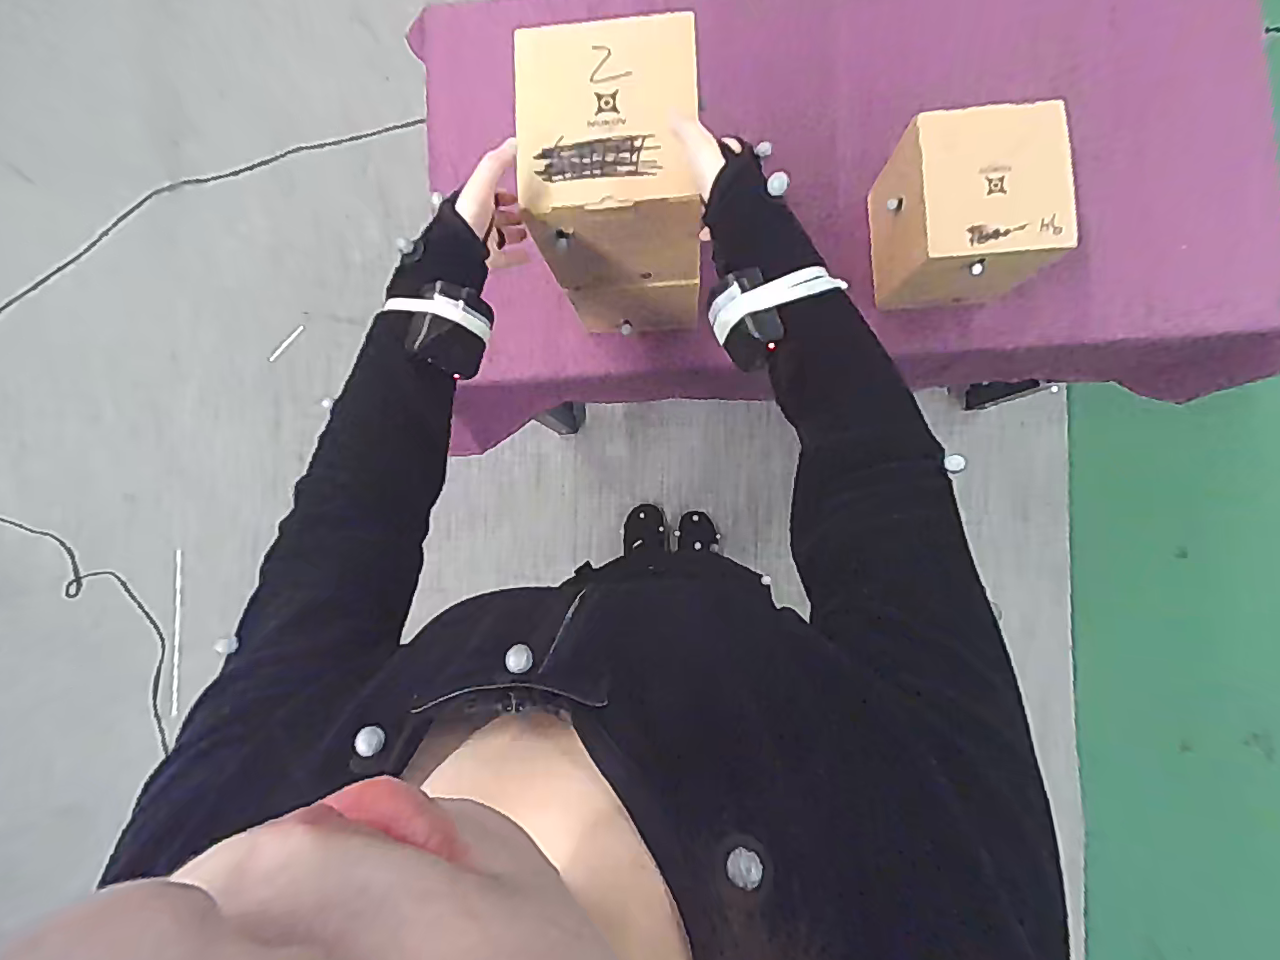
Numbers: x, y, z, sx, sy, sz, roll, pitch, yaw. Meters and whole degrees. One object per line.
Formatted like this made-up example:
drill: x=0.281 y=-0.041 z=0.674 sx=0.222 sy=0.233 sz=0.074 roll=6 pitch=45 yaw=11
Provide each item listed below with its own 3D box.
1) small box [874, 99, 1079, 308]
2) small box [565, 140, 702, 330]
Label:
small box: x=0.414 y=-0.341 z=0.696 sx=0.168 sy=0.176 sz=0.179 roll=-3 pitch=87 yaw=5
small box: x=-0.004 y=-0.316 z=0.727 sx=0.168 sy=0.176 sz=0.179 roll=-1 pitch=89 yaw=5
